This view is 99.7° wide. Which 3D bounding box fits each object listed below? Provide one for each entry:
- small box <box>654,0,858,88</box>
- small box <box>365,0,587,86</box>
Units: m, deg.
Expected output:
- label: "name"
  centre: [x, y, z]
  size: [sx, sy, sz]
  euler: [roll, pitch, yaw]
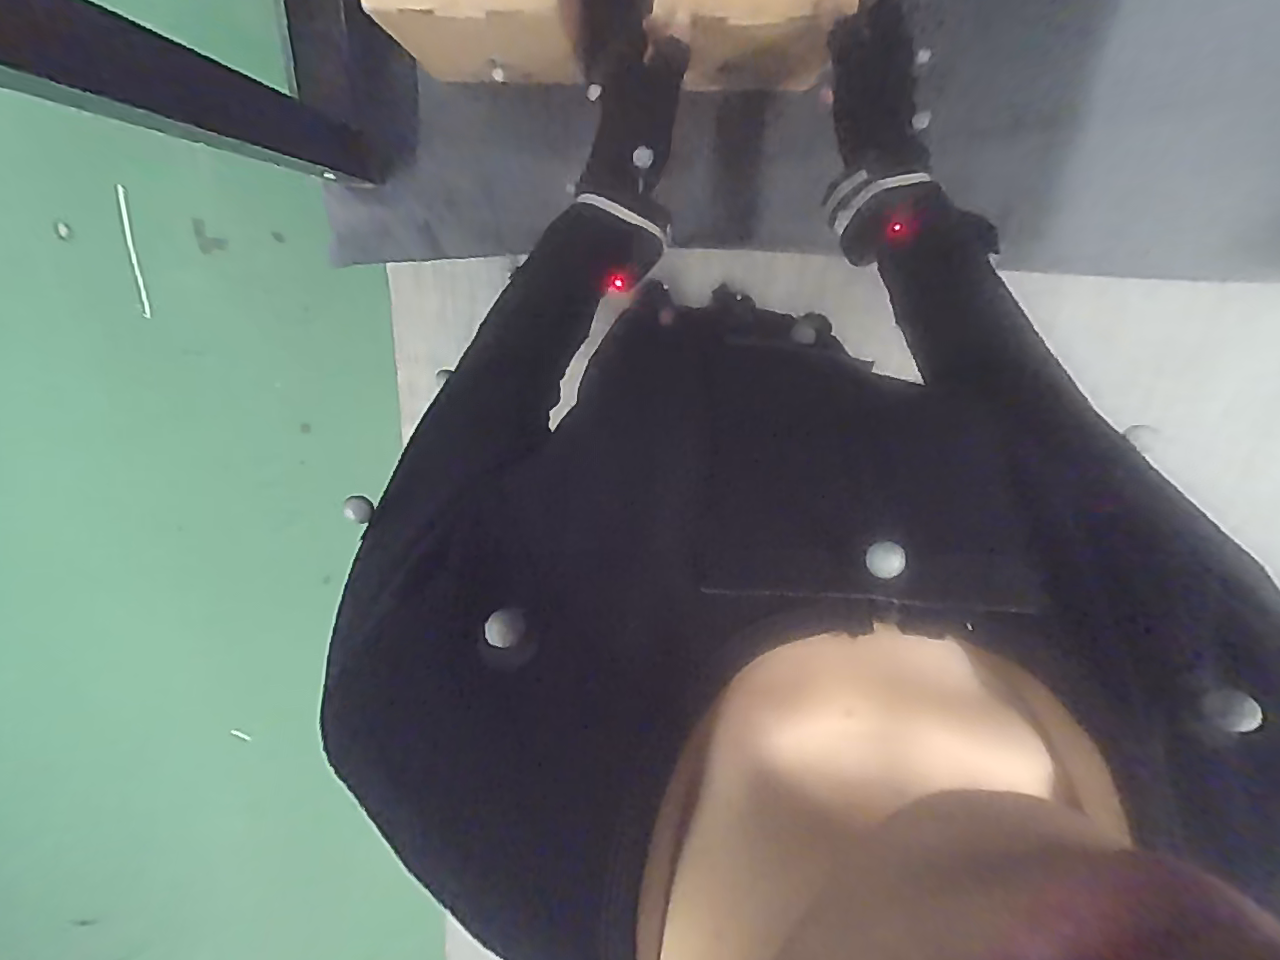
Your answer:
- label: "small box"
  centre: [0.098, -0.482, 0.481]
  size: [0.168, 0.176, 0.179]
  euler: [2, 110, 3]
- label: "small box"
  centre: [-0.141, -0.492, 0.488]
  size: [0.168, 0.176, 0.179]
  euler: [3, 110, 3]
